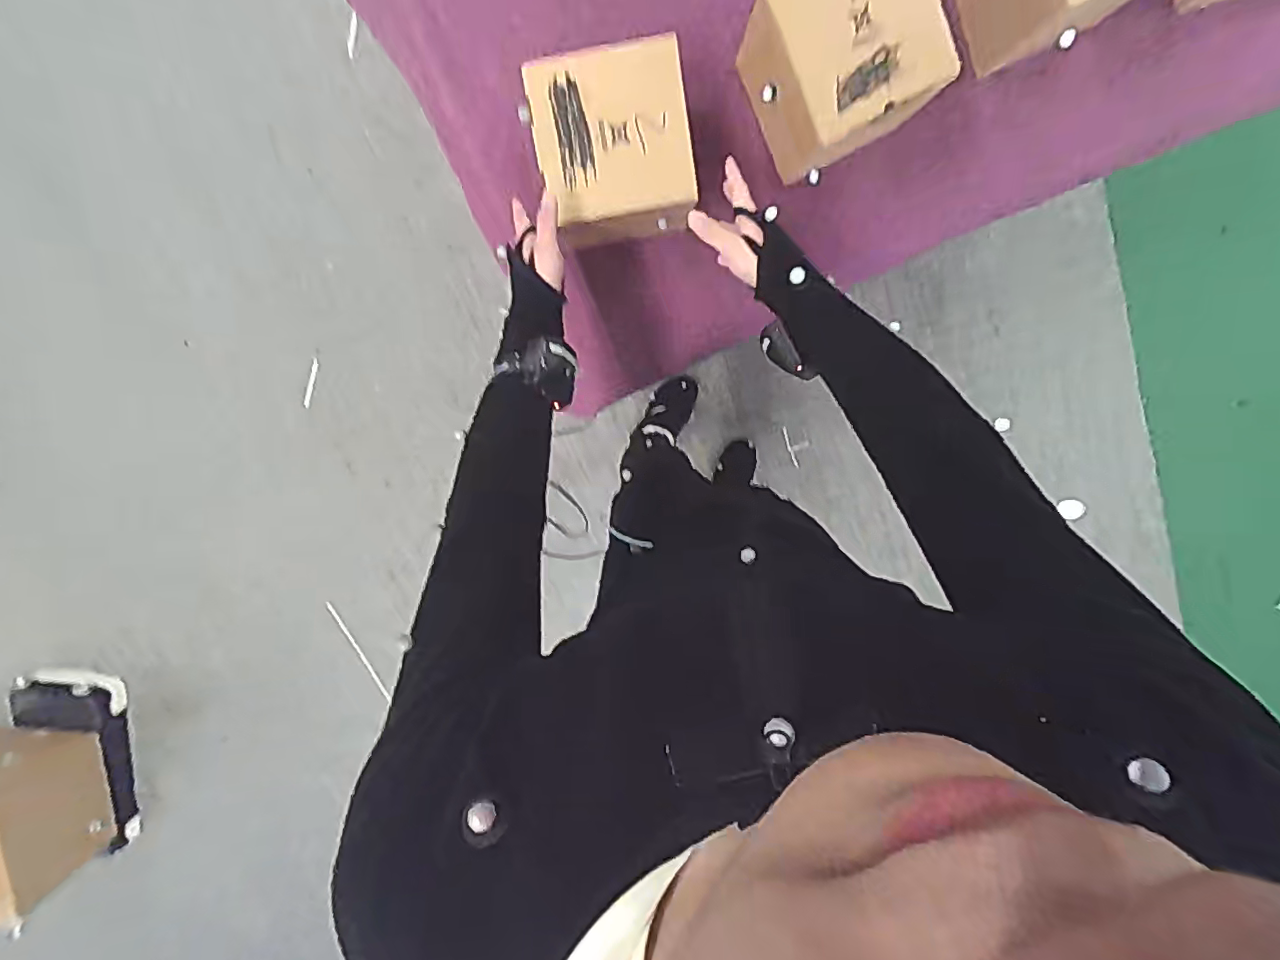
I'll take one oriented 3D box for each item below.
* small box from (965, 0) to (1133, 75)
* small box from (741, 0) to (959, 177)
[{"bbox_3d":[0.496,-0.625,0.621,0.168,0.176,0.179,-23,103,7],"label":"small box"},{"bbox_3d":[0.239,-0.498,0.656,0.168,0.176,0.179,-26,102,6],"label":"small box"}]
